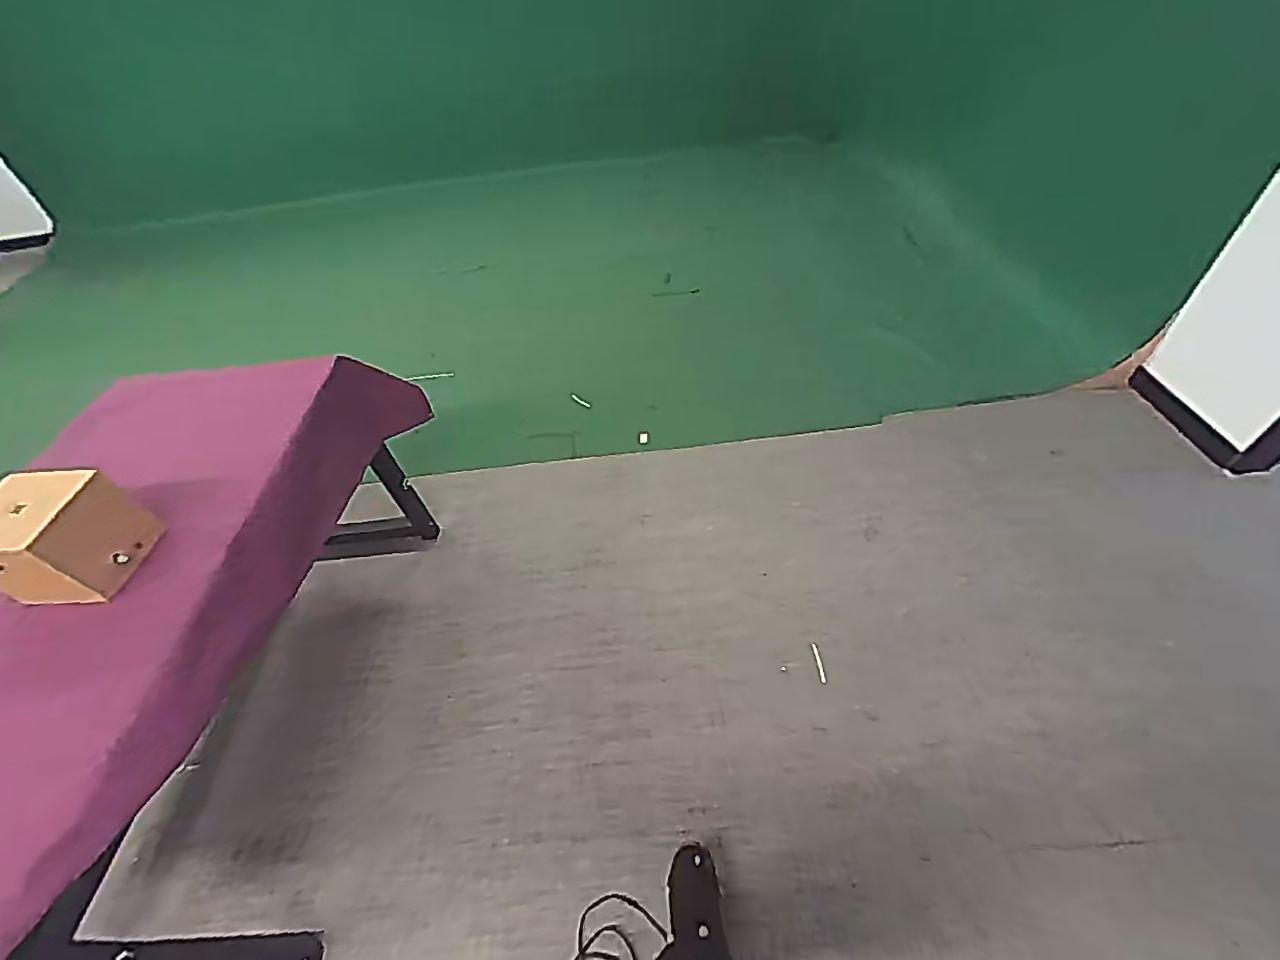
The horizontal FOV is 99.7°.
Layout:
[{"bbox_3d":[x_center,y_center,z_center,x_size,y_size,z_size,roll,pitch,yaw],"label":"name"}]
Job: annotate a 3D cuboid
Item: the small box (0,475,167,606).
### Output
[{"bbox_3d":[-0.998,0.109,0.935,0.179,0.176,0.168,-2,49,6],"label":"small box"}]
